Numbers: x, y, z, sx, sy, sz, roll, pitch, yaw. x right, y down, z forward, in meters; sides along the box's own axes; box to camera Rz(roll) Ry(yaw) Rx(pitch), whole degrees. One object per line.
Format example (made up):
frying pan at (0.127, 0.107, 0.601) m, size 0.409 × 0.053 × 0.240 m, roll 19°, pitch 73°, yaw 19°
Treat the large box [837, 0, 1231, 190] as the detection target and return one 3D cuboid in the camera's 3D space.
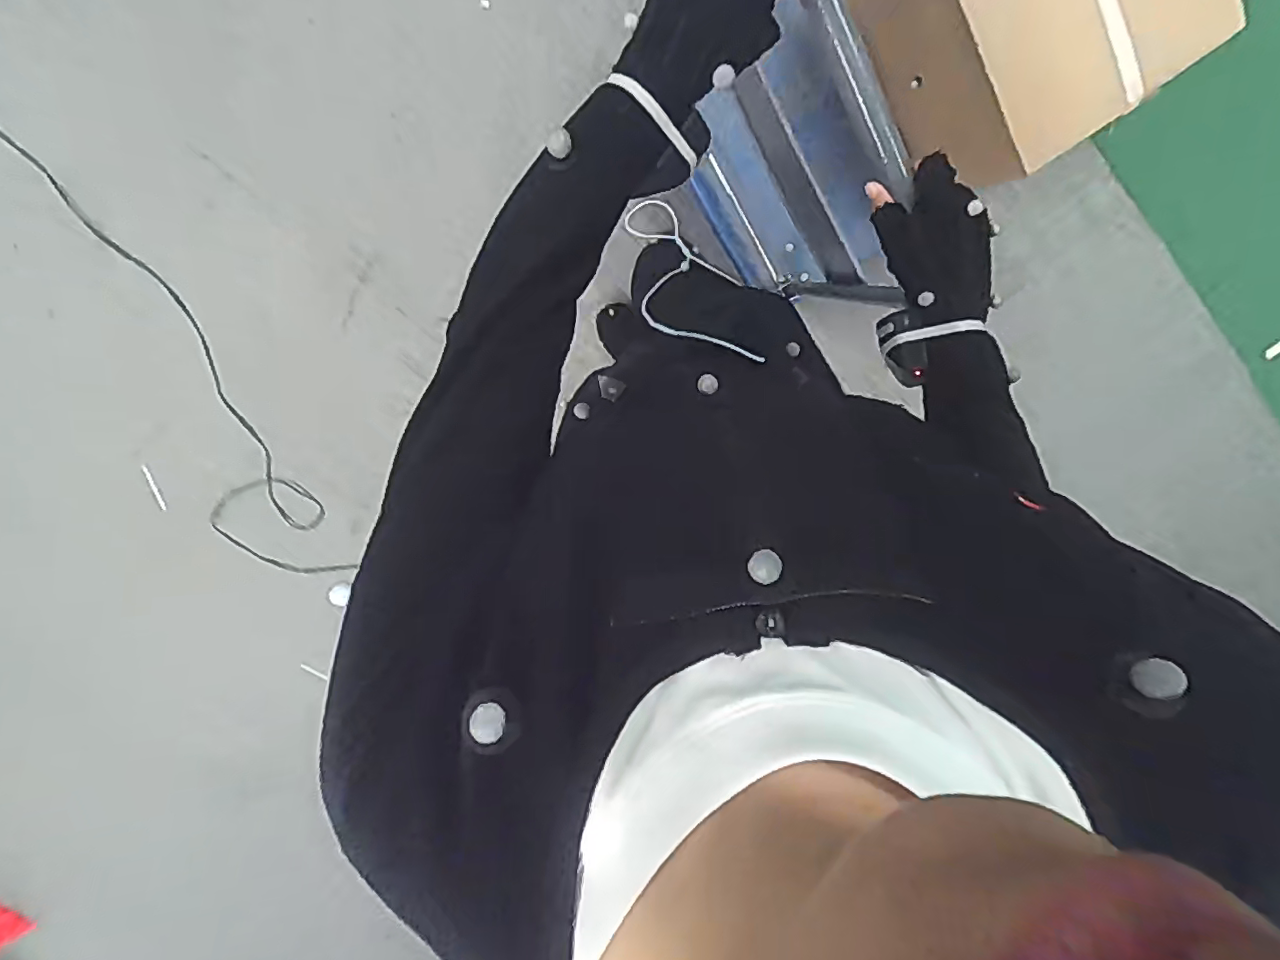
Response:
large box at (0.578, -0.749, 0.857) m, size 0.320 × 0.320 × 0.408 m, roll -33°, pitch 108°, yaw 13°
